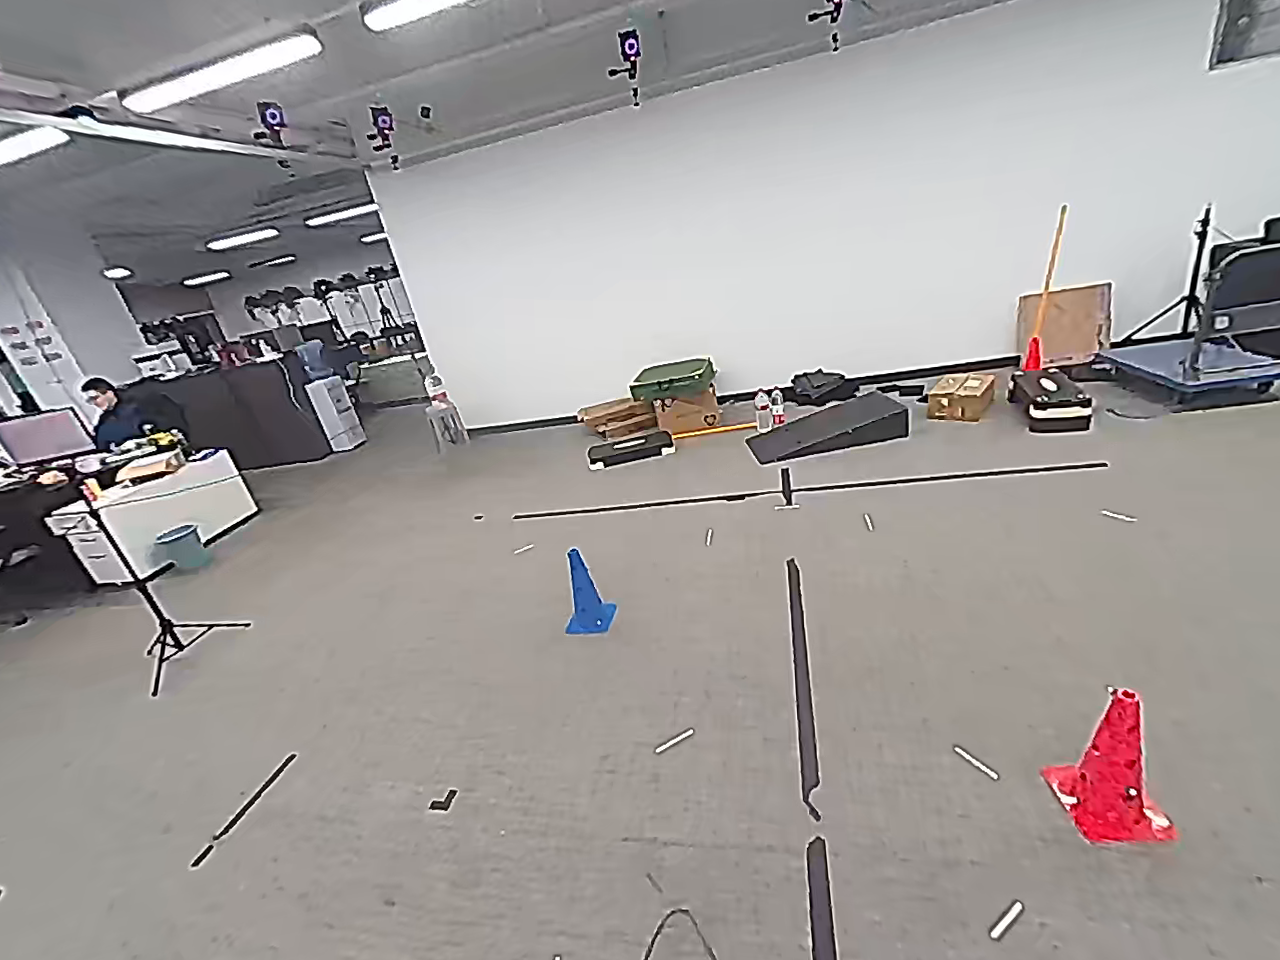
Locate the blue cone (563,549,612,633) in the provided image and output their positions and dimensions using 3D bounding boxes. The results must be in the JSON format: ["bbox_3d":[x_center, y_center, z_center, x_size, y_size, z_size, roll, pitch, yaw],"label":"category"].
[{"bbox_3d":[-0.259,0.465,2.336,0.192,0.380,0.193,-6,23,16],"label":"blue cone"}]

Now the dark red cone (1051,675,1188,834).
[{"bbox_3d":[1.118,0.609,1.249,0.201,0.394,0.202,-10,23,8],"label":"dark red cone"}]
